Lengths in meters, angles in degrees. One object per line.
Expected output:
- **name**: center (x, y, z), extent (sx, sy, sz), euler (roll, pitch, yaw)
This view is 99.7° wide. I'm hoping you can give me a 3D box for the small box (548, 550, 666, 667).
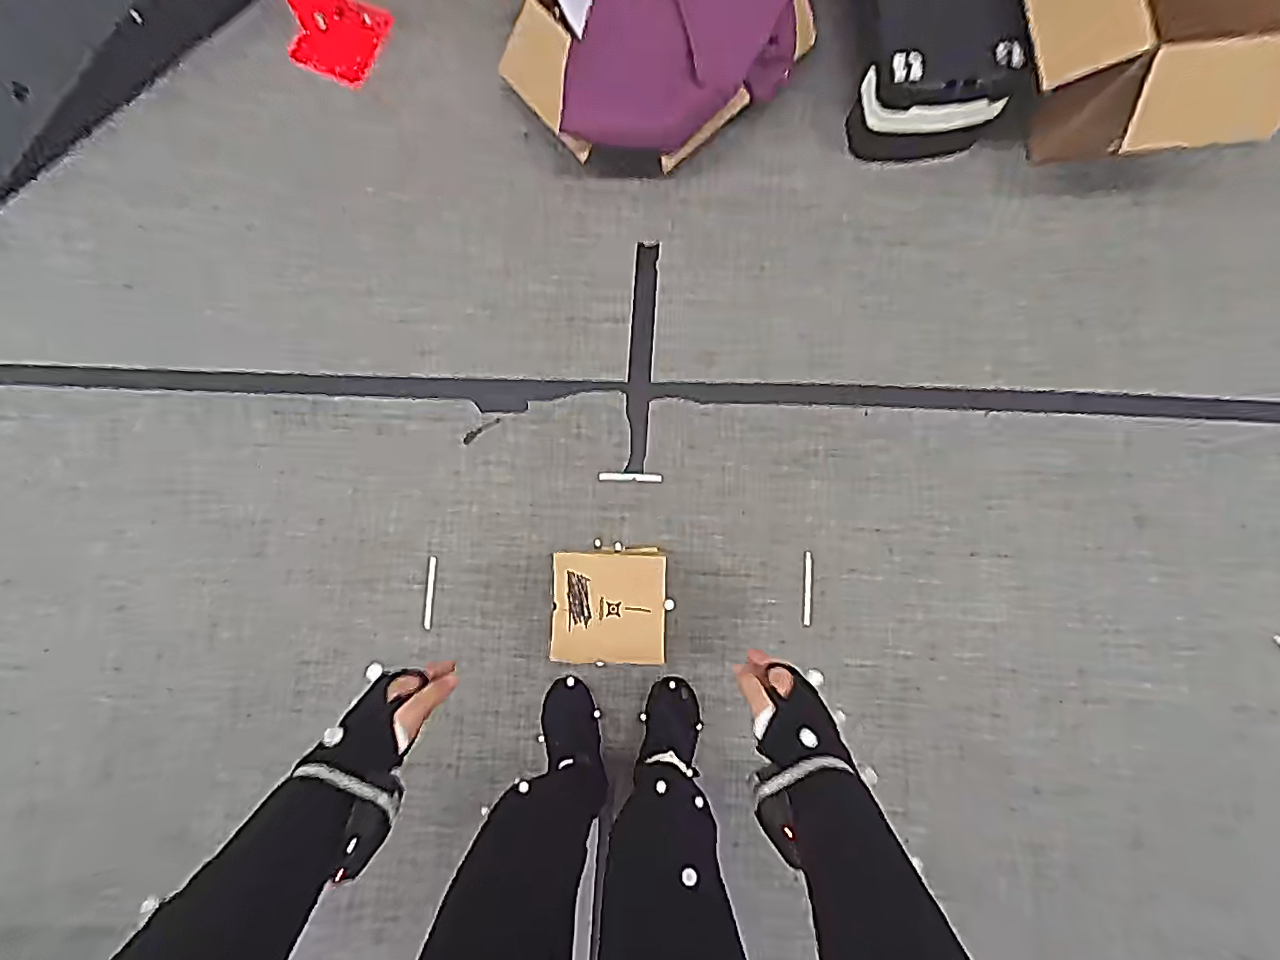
- **small box**: center (-0.047, 0.203, 0.895), extent (0.179, 0.176, 0.168), euler (2, 85, 1)
